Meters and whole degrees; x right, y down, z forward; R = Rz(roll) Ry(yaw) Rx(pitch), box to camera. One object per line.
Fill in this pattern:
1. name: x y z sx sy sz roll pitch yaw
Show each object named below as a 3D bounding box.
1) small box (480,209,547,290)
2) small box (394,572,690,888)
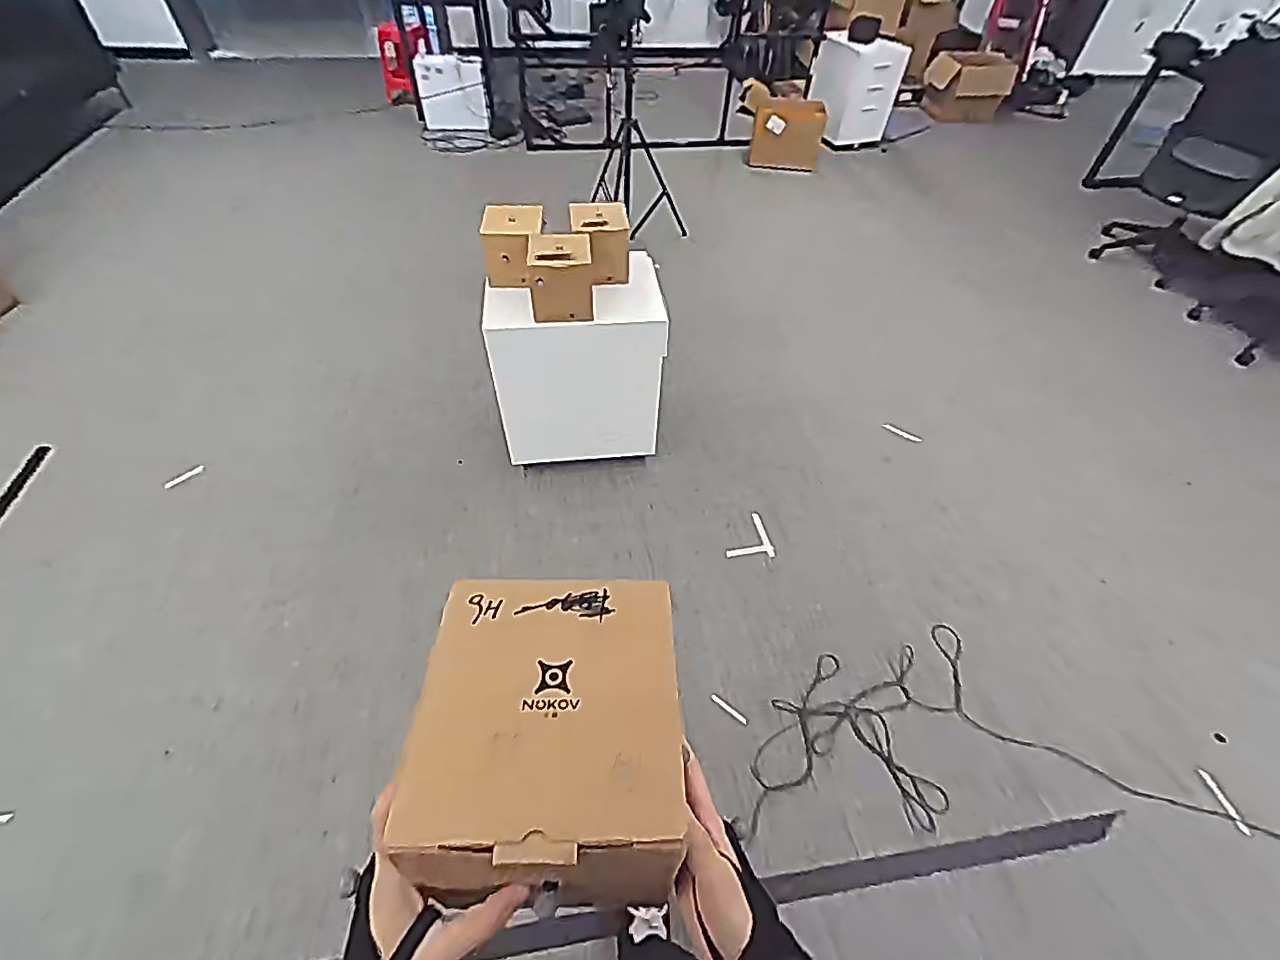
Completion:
1. small box: -0.366 -0.677 1.594 0.168 0.176 0.179 -2 50 -5
2. small box: -0.056 0.189 0.407 0.168 0.176 0.179 1 44 -3
